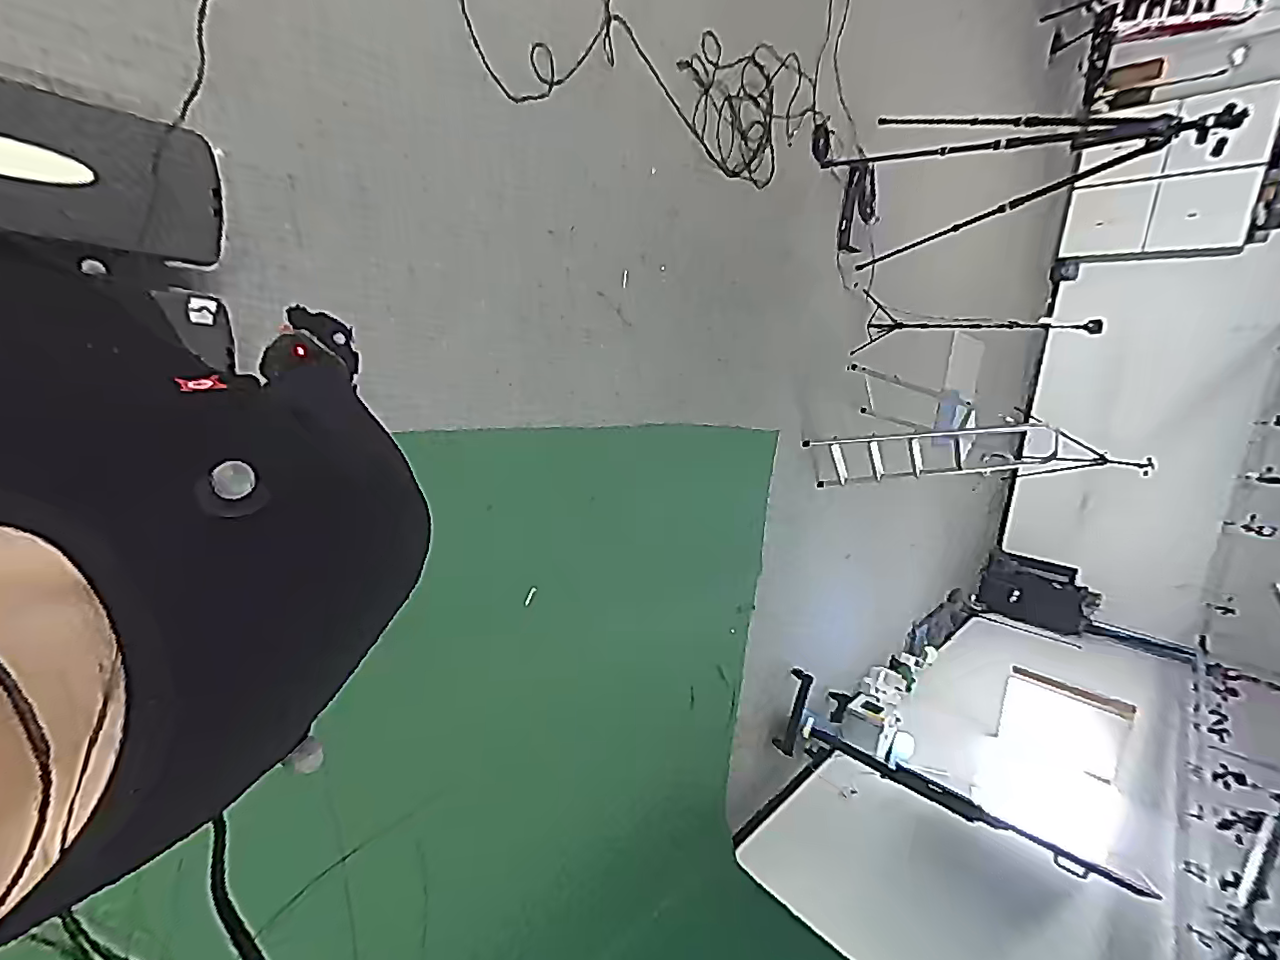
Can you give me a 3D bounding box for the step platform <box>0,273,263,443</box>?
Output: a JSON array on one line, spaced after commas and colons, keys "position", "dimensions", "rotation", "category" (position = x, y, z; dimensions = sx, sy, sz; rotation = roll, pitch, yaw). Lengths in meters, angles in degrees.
[{"position": [-1.066, -0.207, 0.910], "dimensions": [0.684, 0.204, 0.286], "rotation": [-7, 106, -46], "category": "step platform"}]
